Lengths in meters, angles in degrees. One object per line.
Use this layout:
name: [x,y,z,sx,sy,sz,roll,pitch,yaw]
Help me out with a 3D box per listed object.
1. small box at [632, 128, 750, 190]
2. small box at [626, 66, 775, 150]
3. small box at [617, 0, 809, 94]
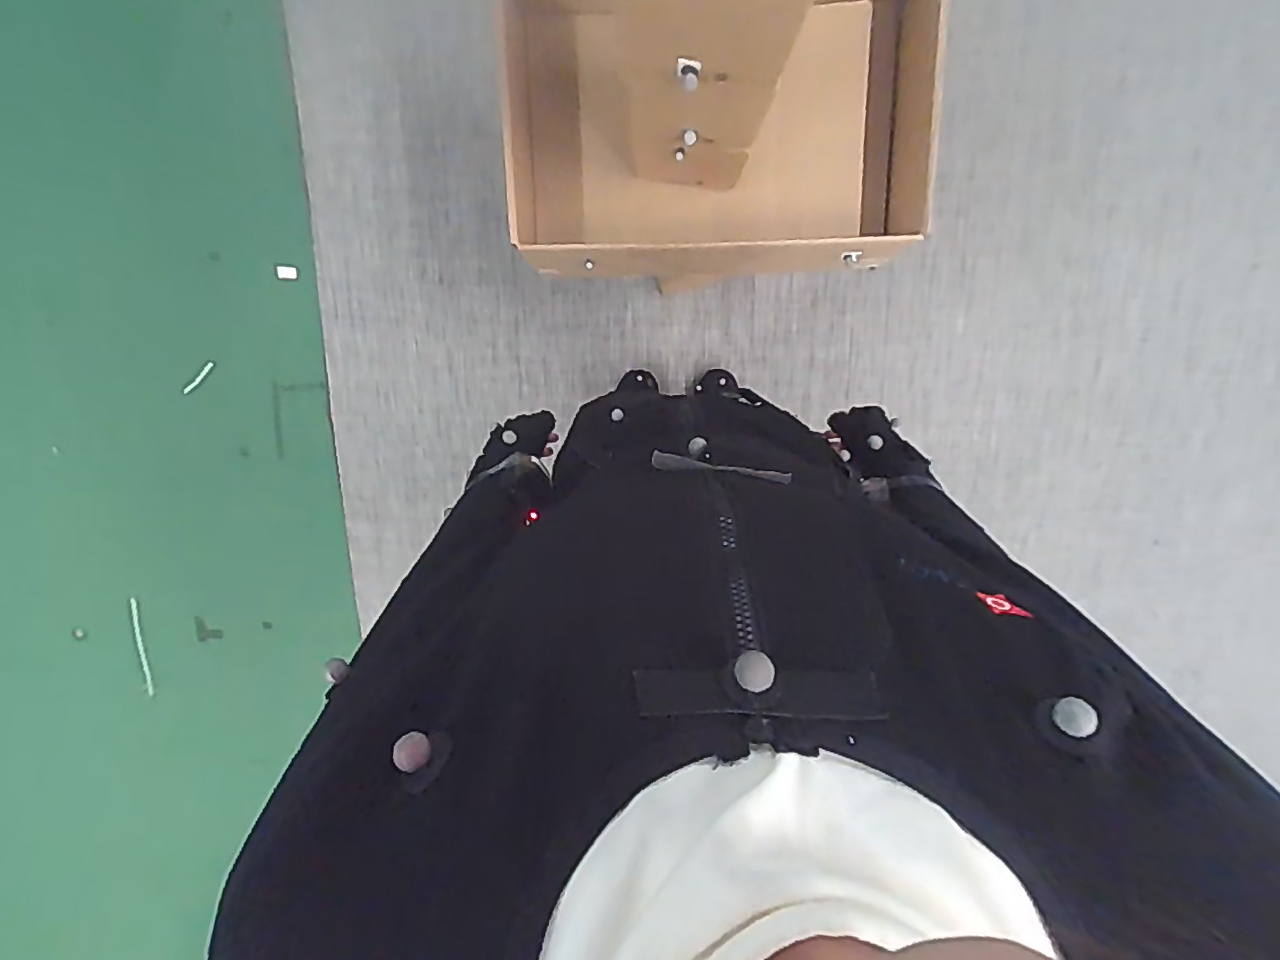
small box: [0.080,-0.565,0.812,0.168,0.176,0.179,7,101,0]
small box: [0.072,-0.532,0.651,0.168,0.176,0.179,4,102,0]
small box: [0.066,-0.496,0.494,0.168,0.176,0.179,4,103,1]
